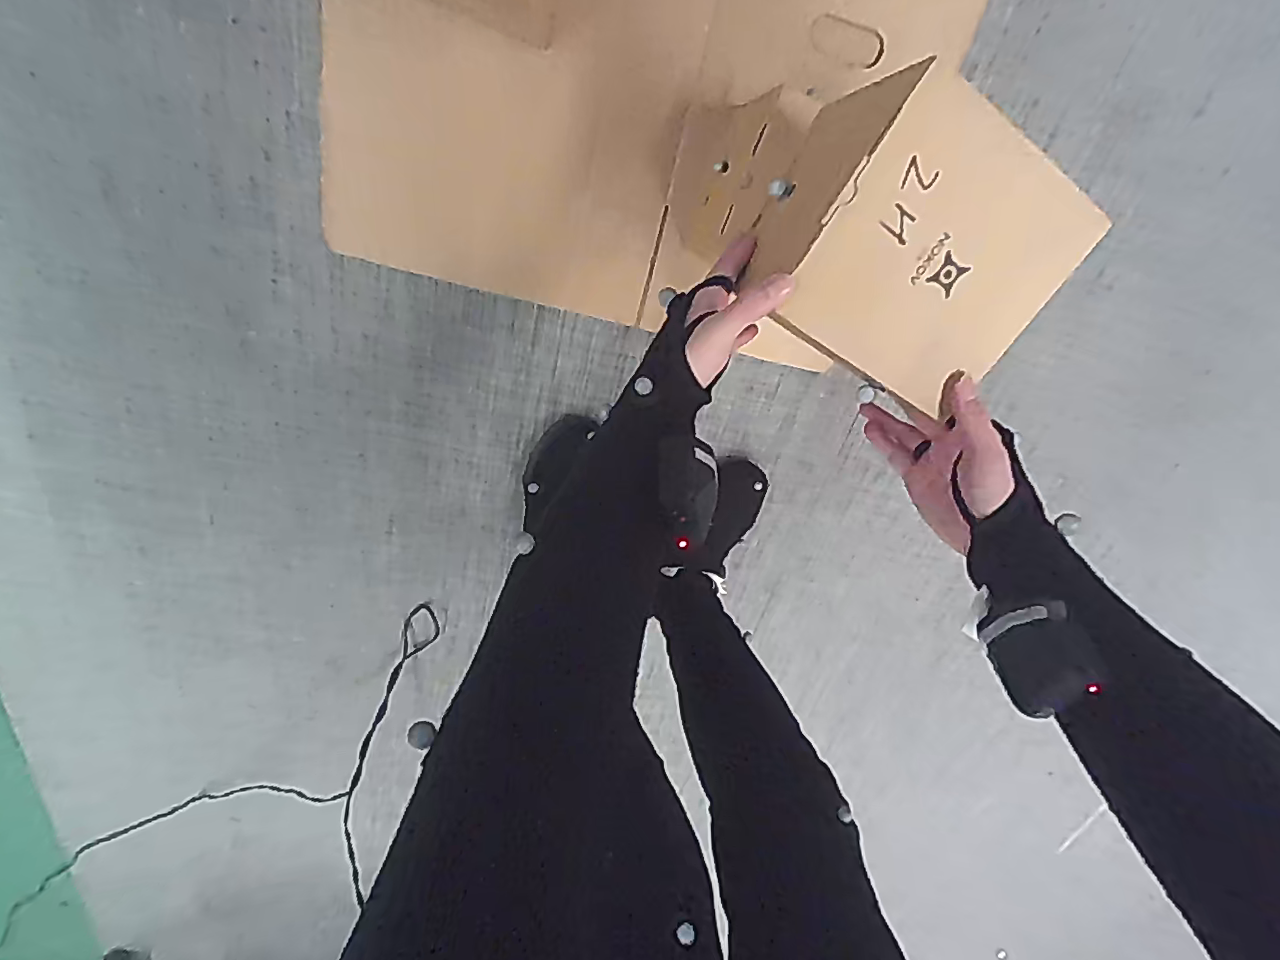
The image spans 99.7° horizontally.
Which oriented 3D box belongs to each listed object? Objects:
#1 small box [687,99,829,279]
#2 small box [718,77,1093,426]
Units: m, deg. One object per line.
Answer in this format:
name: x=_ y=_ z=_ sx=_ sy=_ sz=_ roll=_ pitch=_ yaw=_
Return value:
small box: x=0.169 y=-0.299 z=0.616 sx=0.179 sy=0.176 sz=0.168 roll=16 pitch=116 yaw=-12
small box: x=0.189 y=-0.176 z=0.441 sx=0.179 sy=0.176 sz=0.168 roll=26 pitch=110 yaw=-16
